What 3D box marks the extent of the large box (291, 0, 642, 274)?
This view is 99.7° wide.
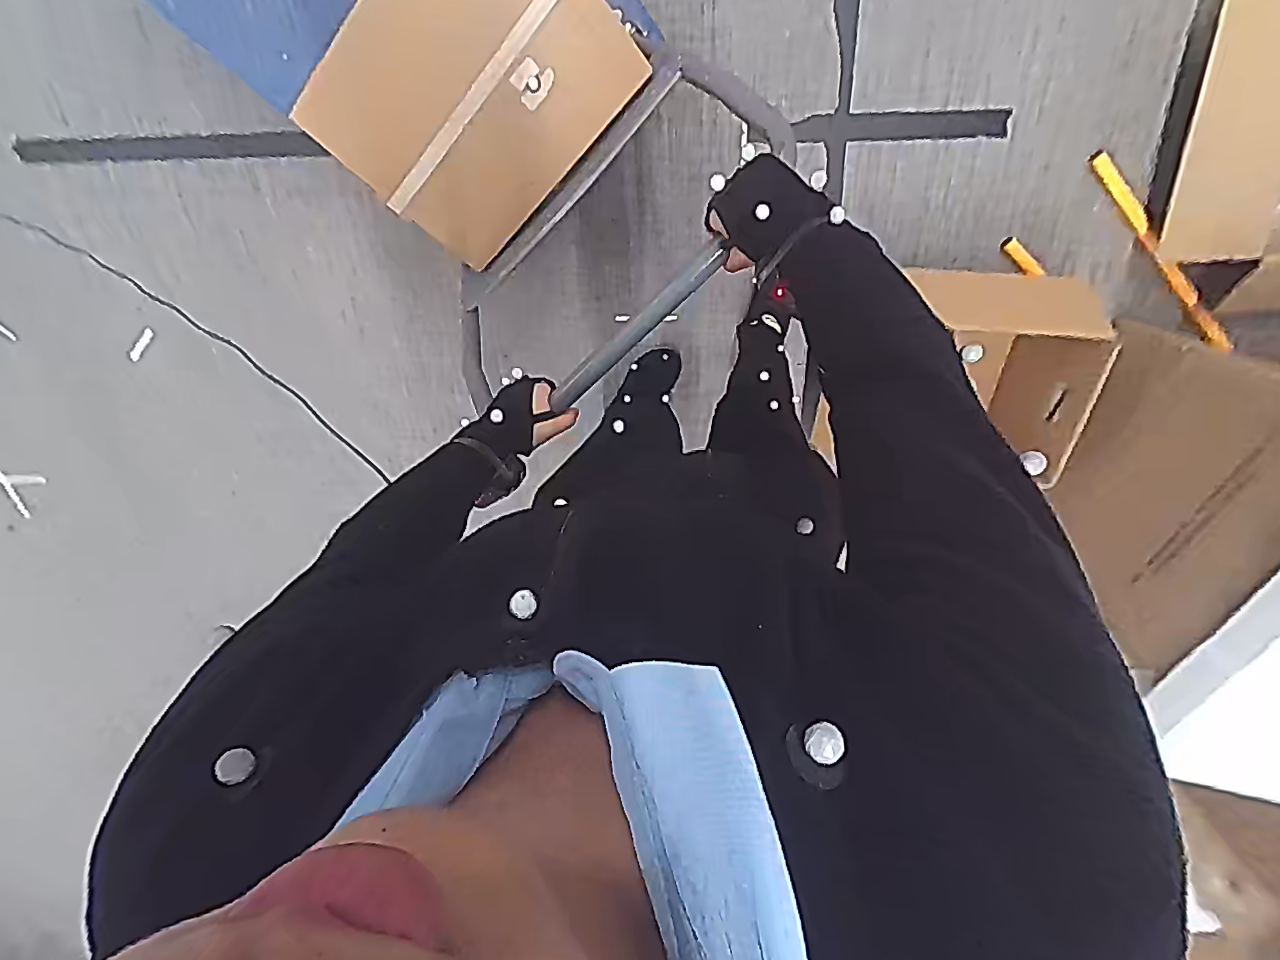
[{"bbox_3d":[-0.265,-0.625,0.858,0.408,0.320,0.320,-41,129,20],"label":"large box"}]
